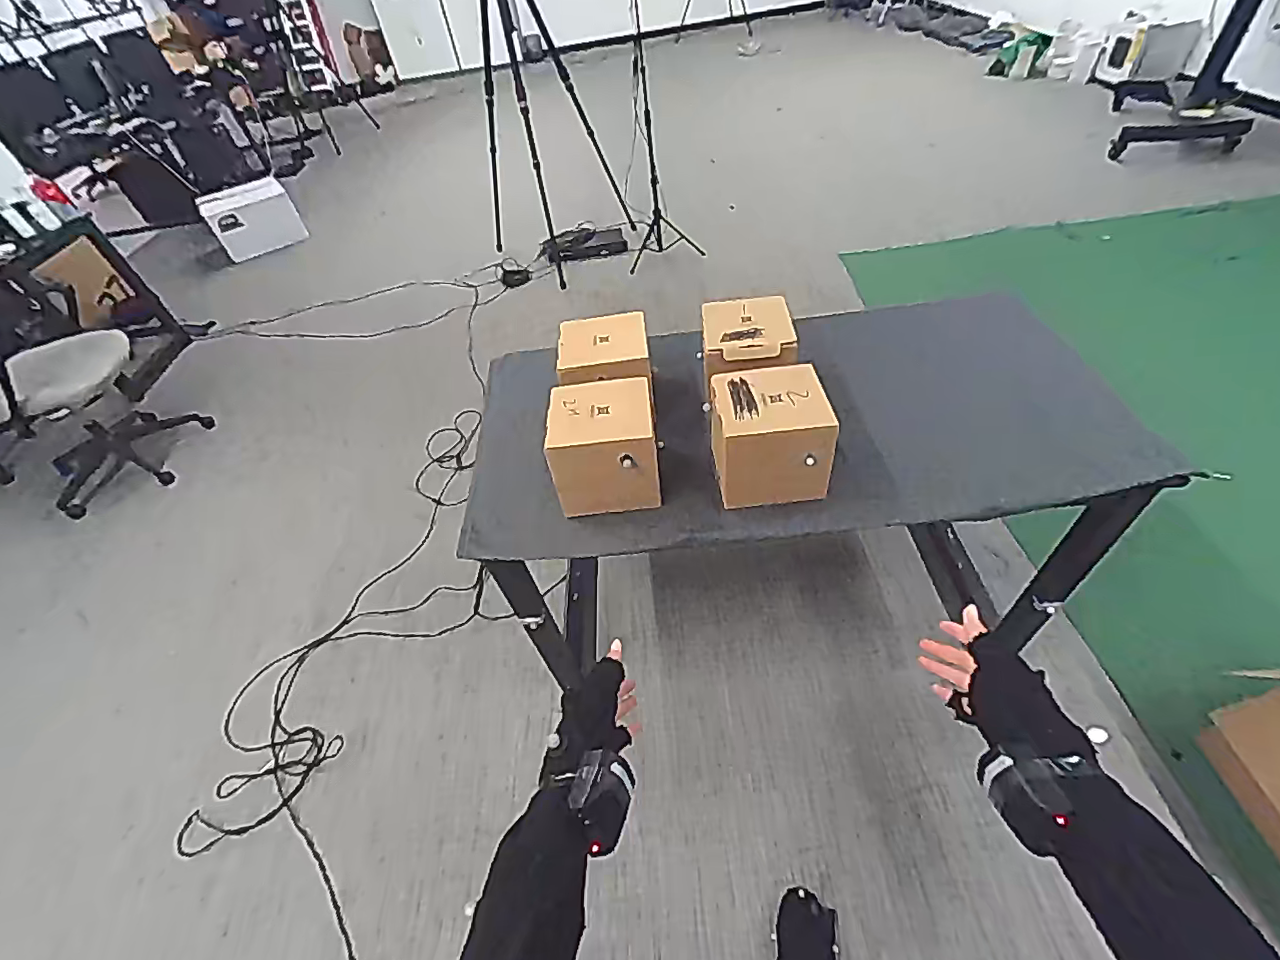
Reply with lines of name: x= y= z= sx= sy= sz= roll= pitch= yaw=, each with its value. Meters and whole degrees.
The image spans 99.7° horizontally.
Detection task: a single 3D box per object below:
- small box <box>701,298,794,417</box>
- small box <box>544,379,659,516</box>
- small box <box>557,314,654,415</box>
small box: x=0.211 y=-0.240 z=1.088 sx=0.168 sy=0.176 sz=0.179 roll=-3 pitch=46 yaw=6
small box: x=-0.060 y=-0.055 z=0.958 sx=0.179 sy=0.176 sz=0.168 roll=-6 pitch=45 yaw=3
small box: x=-0.064 y=-0.215 z=1.114 sx=0.179 sy=0.176 sz=0.168 roll=-8 pitch=47 yaw=3
